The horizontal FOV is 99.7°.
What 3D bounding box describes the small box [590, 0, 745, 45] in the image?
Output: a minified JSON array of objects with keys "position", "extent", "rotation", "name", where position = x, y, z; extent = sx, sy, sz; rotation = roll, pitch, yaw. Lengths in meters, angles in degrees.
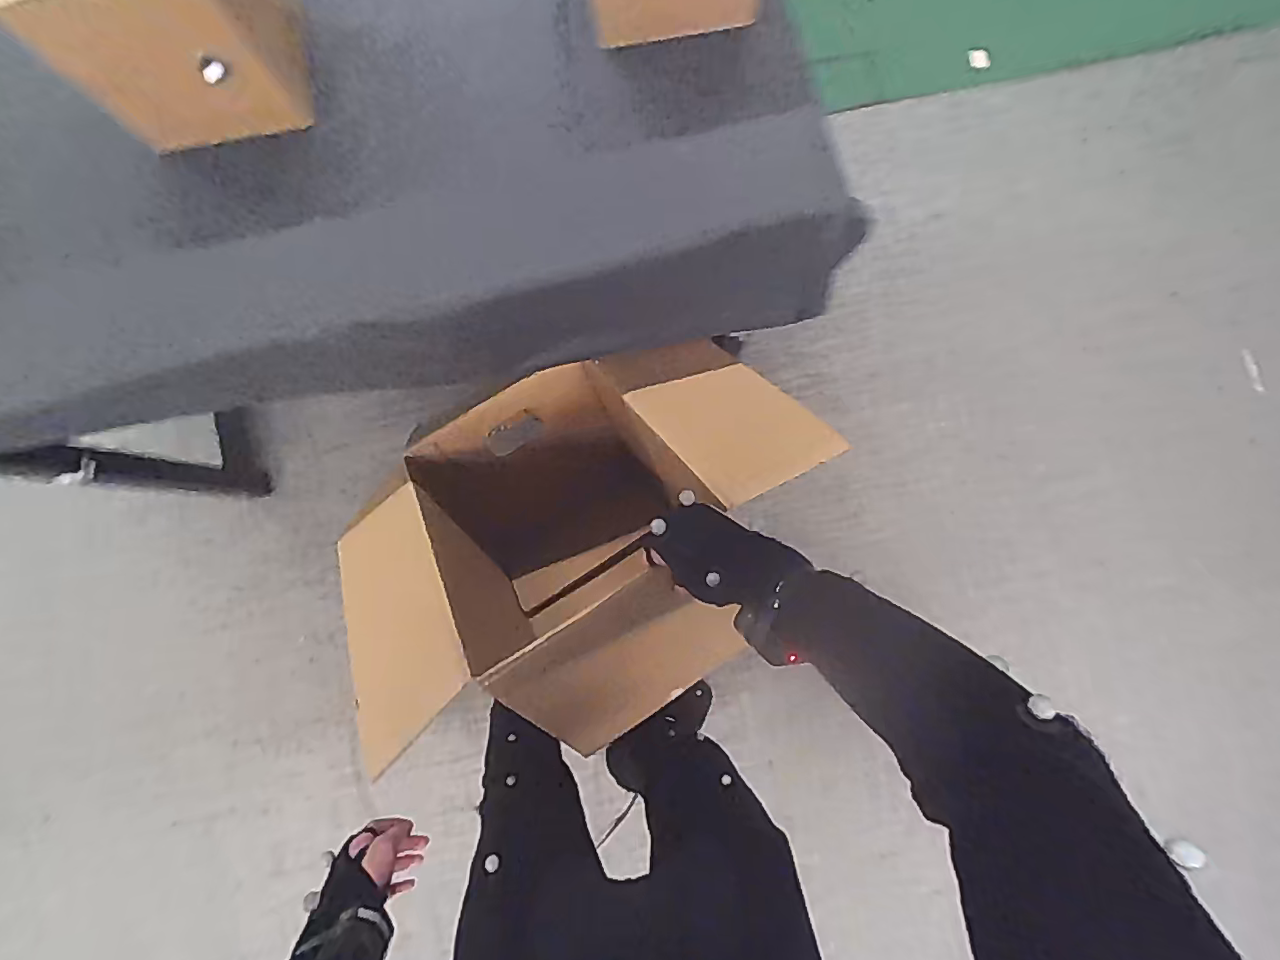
[{"position":[0.023,-0.588,0.546],"extent":[0.179,0.176,0.168],"rotation":[-10,84,-2],"name":"small box"}]
